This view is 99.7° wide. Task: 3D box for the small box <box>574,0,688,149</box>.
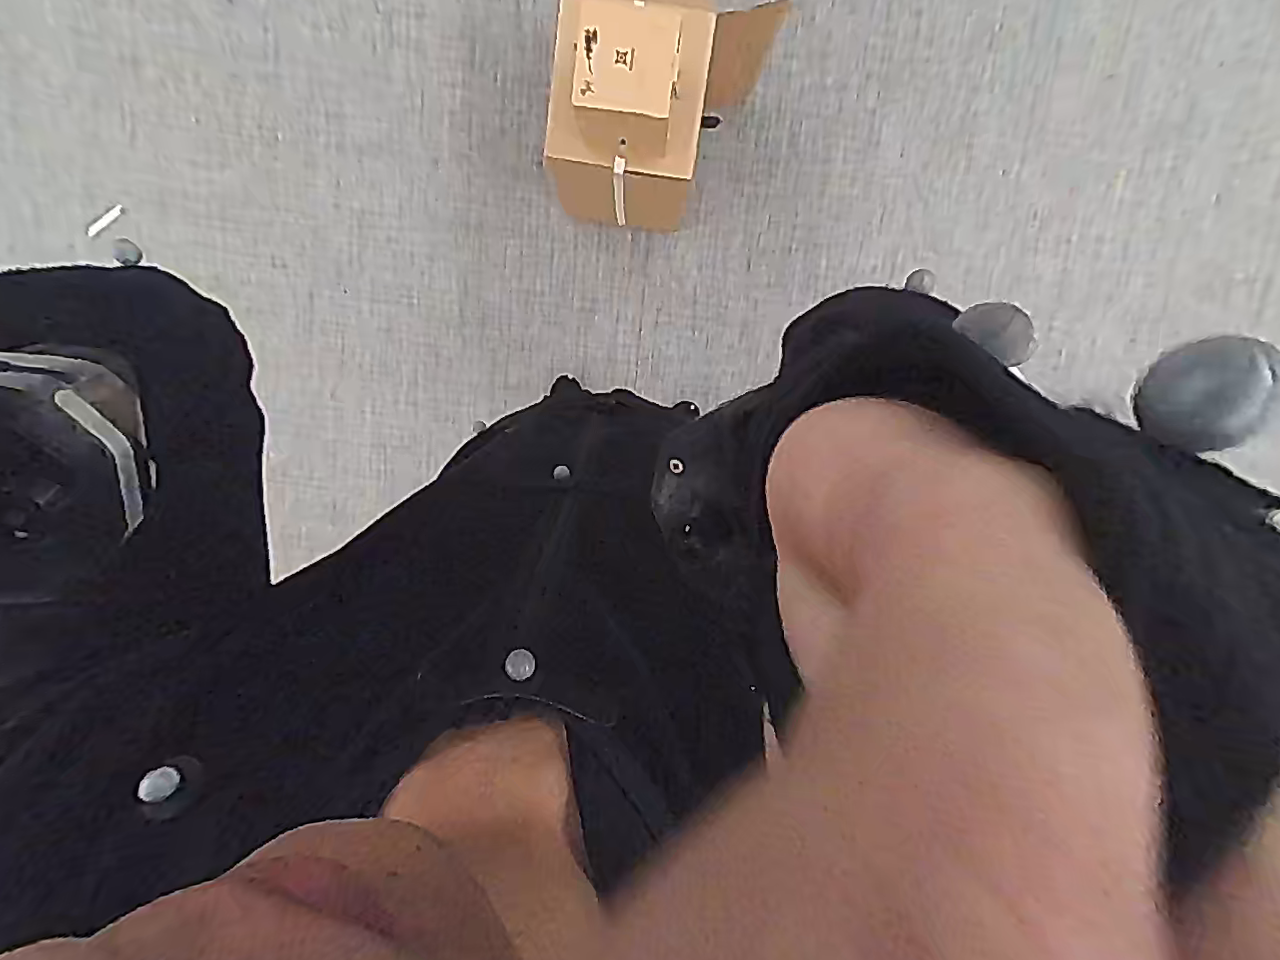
[{"bbox_3d":[-0.017,-0.737,0.997,0.179,0.176,0.168,8,102,-2],"label":"small box"}]
